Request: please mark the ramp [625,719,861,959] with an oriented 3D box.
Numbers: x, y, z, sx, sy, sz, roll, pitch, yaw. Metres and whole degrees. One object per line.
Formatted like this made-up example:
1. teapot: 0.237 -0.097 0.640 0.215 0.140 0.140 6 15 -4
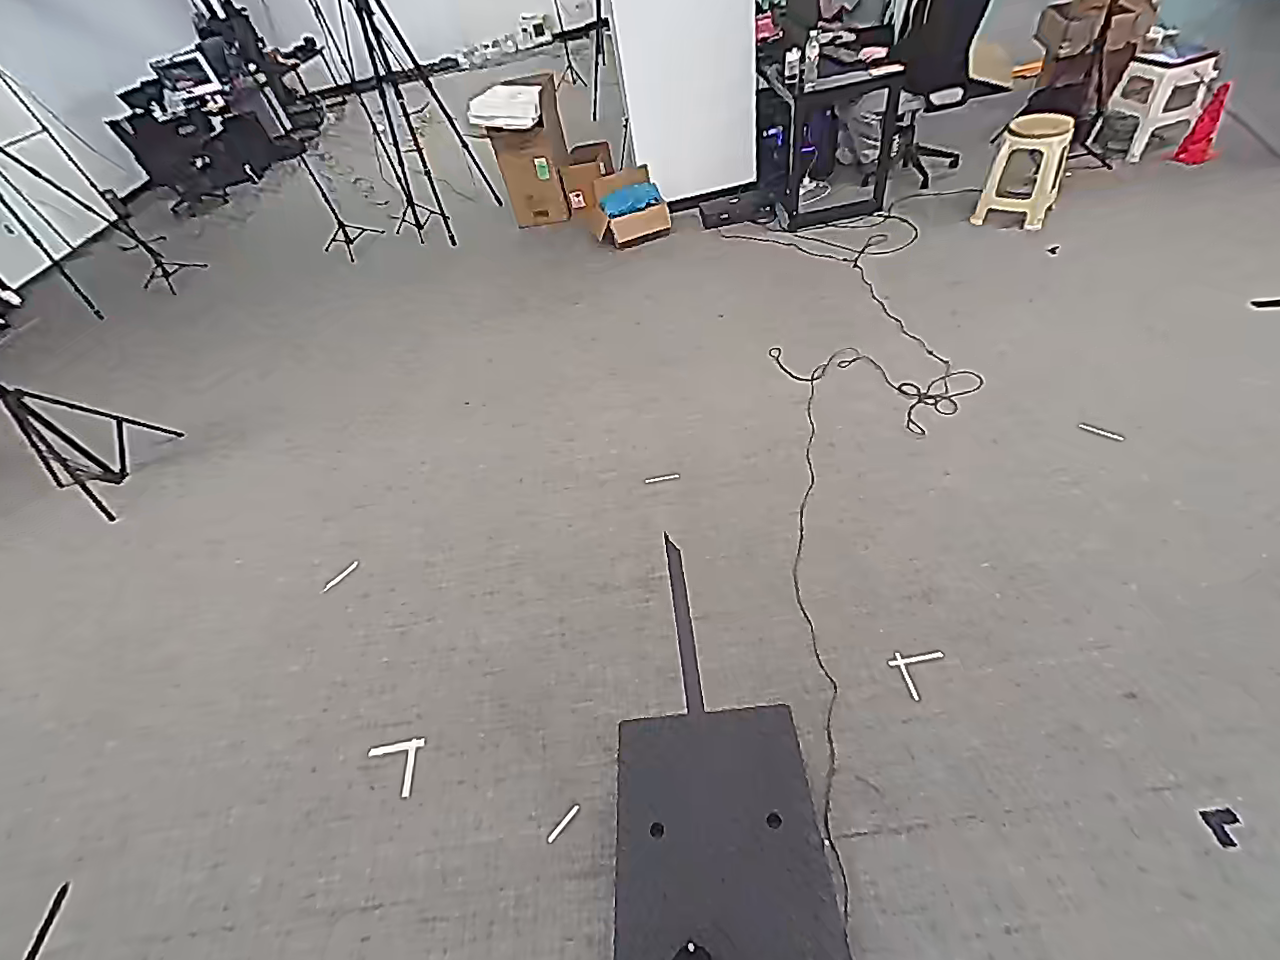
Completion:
1. ramp: 0.208 1.001 1.133 0.509 0.206 0.991 -12 45 5
